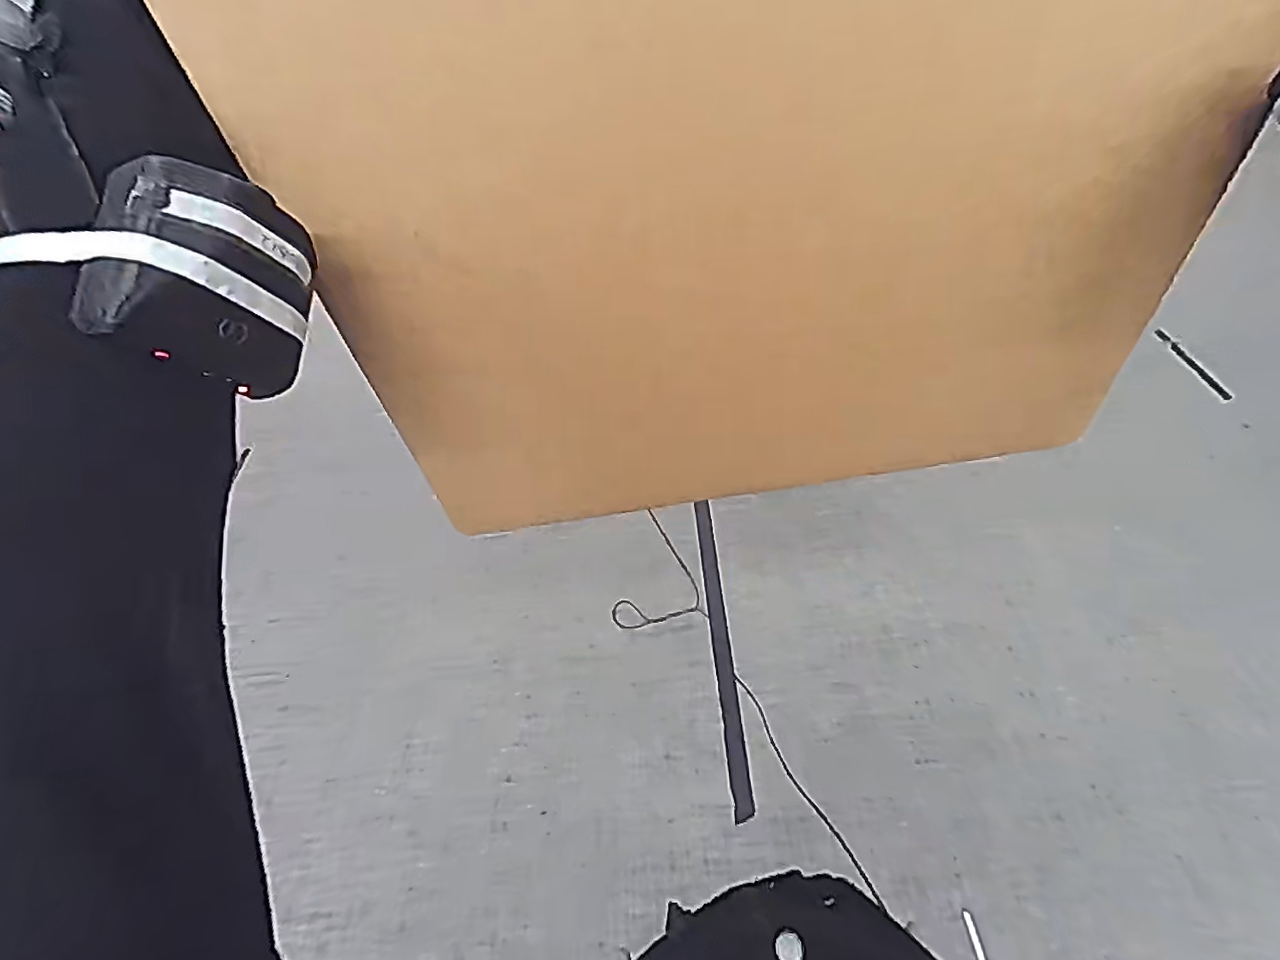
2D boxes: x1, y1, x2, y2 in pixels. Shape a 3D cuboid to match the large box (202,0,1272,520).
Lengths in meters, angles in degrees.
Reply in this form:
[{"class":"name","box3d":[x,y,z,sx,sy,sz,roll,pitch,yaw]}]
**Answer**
[{"class":"large box","box3d":[0.045,-0.208,0.364,0.408,0.320,0.320,-9,45,1]}]
